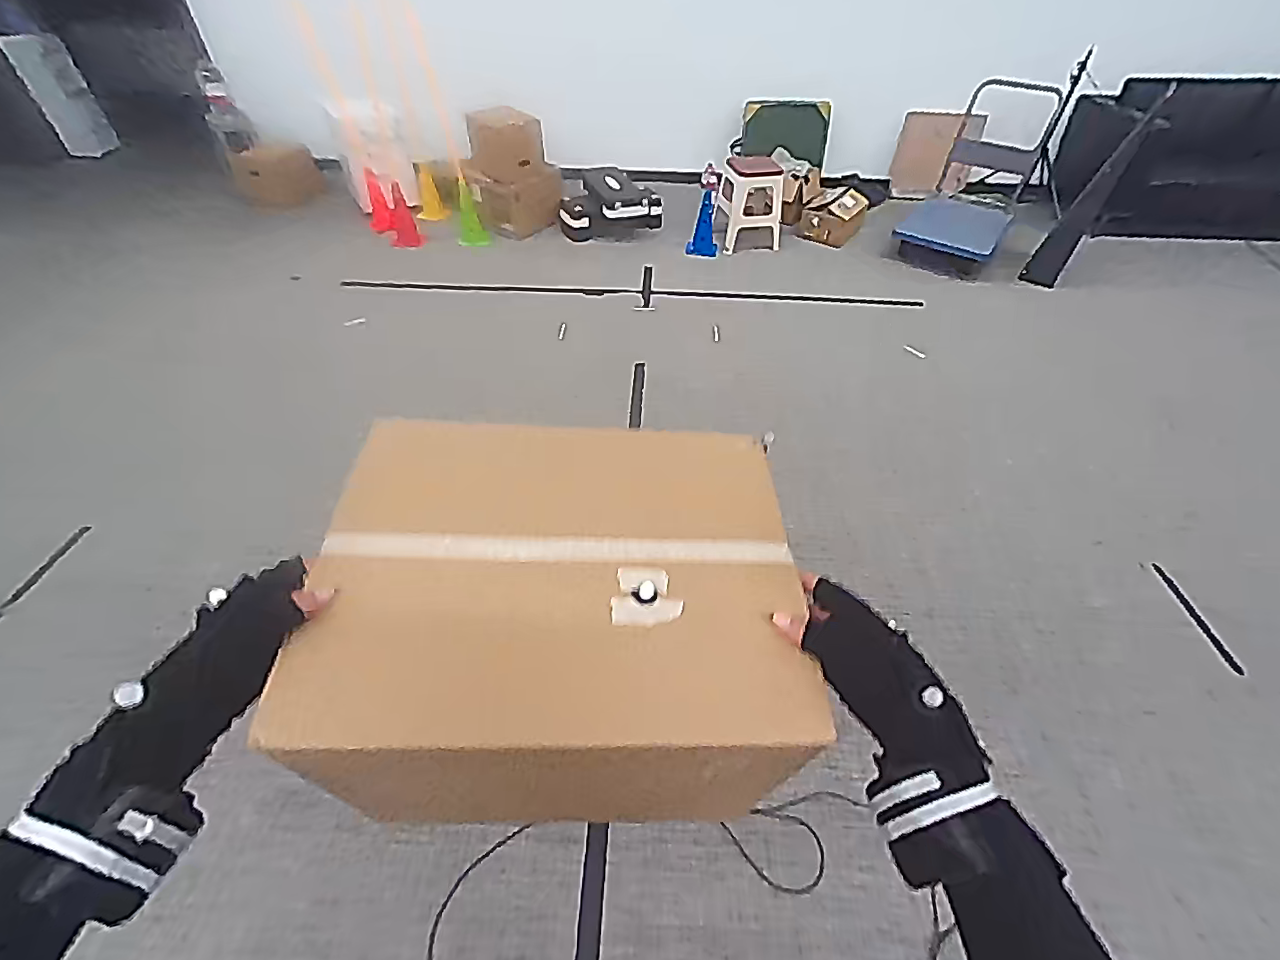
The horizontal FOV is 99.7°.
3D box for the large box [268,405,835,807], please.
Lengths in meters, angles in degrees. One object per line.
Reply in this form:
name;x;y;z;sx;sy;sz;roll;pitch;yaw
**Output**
large box;-0.073;0.143;0.583;0.408;0.320;0.320;3;50;-6
